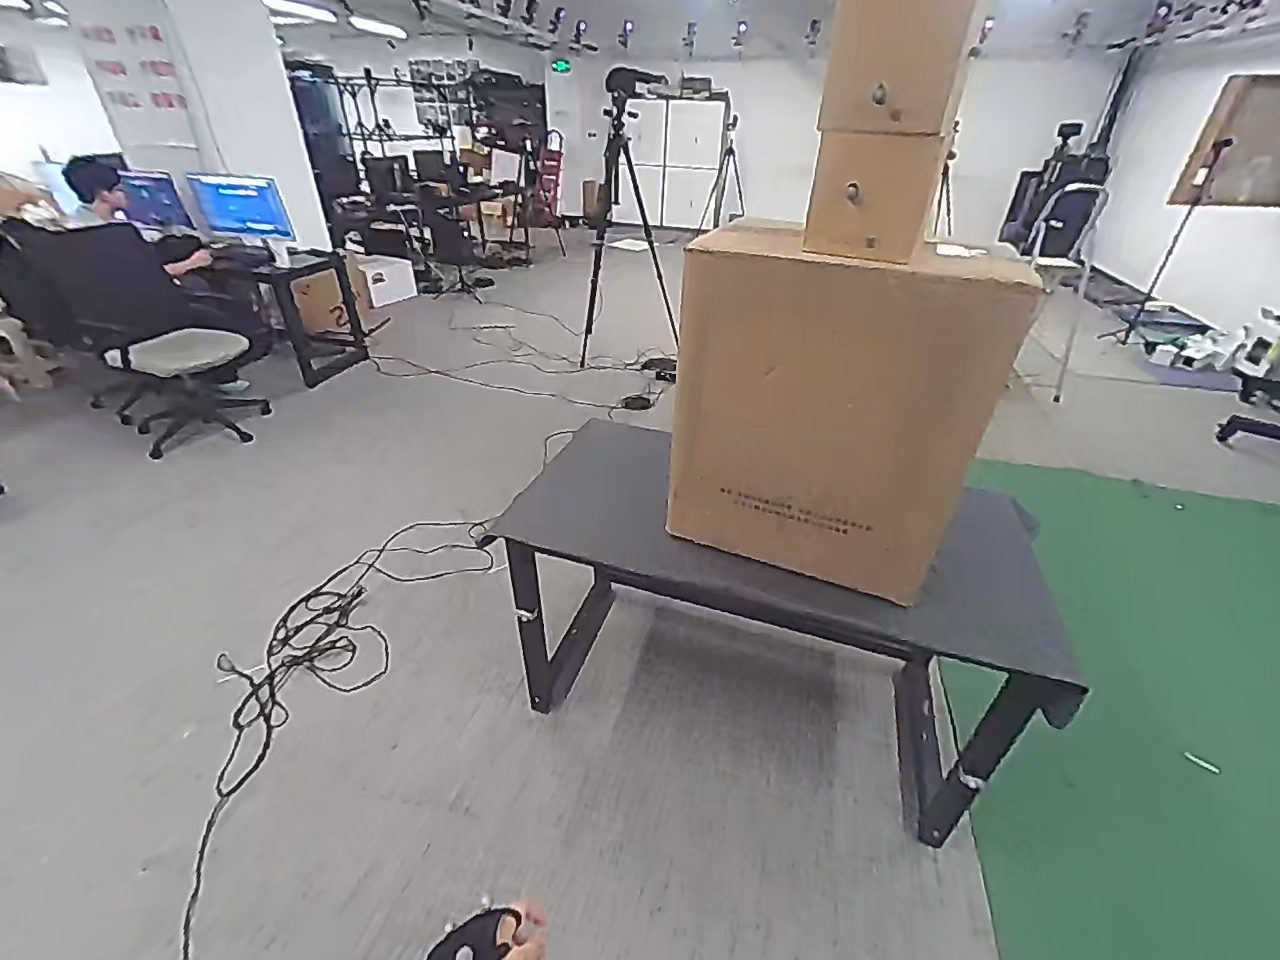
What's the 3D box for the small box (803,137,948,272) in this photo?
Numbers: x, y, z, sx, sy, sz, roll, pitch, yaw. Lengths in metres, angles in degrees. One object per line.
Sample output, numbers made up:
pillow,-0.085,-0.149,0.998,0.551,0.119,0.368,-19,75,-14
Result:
small box,0.367,-0.439,0.856,0.168,0.176,0.179,18,38,23
